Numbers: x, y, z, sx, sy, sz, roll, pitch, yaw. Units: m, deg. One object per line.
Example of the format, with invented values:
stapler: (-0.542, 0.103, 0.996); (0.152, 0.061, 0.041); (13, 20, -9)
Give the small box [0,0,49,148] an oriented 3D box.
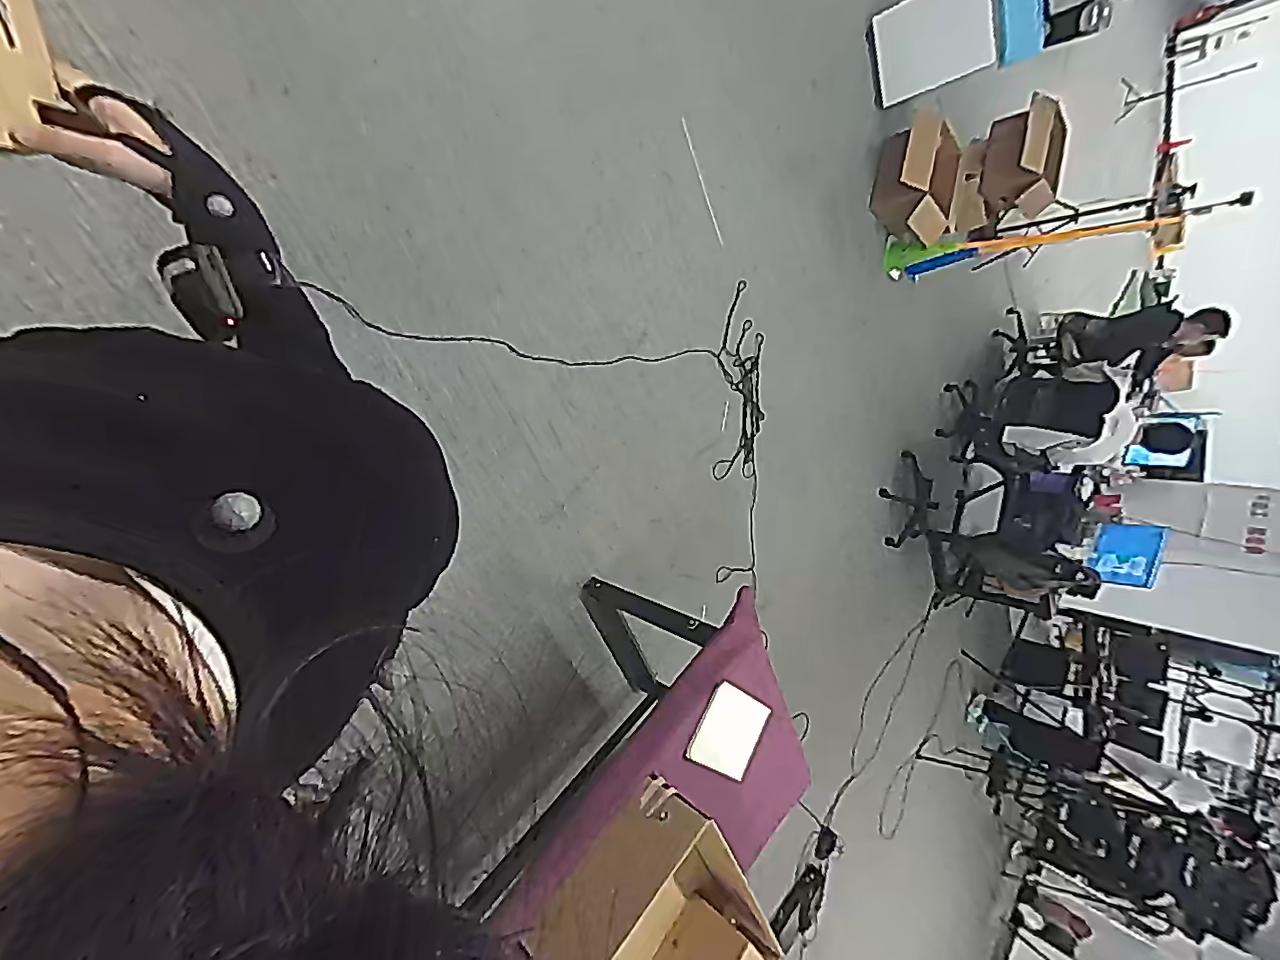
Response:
small box: (-0.522, -0.309, 0.322); (0.179, 0.176, 0.168); (-26, 128, -49)
